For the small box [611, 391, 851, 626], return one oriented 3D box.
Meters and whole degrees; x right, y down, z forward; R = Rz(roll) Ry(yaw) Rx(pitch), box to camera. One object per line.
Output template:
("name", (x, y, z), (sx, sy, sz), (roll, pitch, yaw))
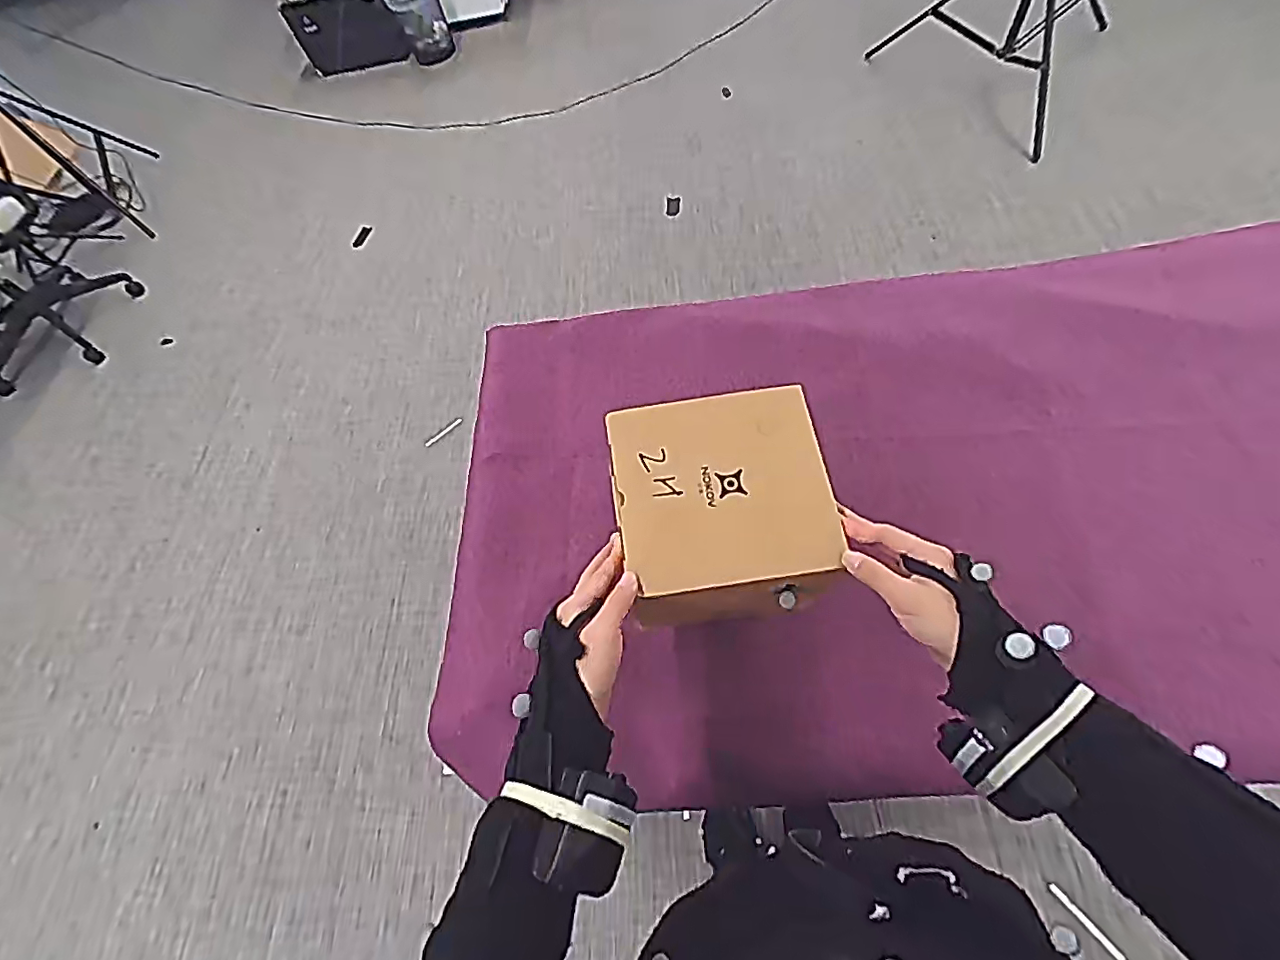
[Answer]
("small box", (0.073, 0.037, 0.519), (0.179, 0.176, 0.168), (-8, 66, 1))
